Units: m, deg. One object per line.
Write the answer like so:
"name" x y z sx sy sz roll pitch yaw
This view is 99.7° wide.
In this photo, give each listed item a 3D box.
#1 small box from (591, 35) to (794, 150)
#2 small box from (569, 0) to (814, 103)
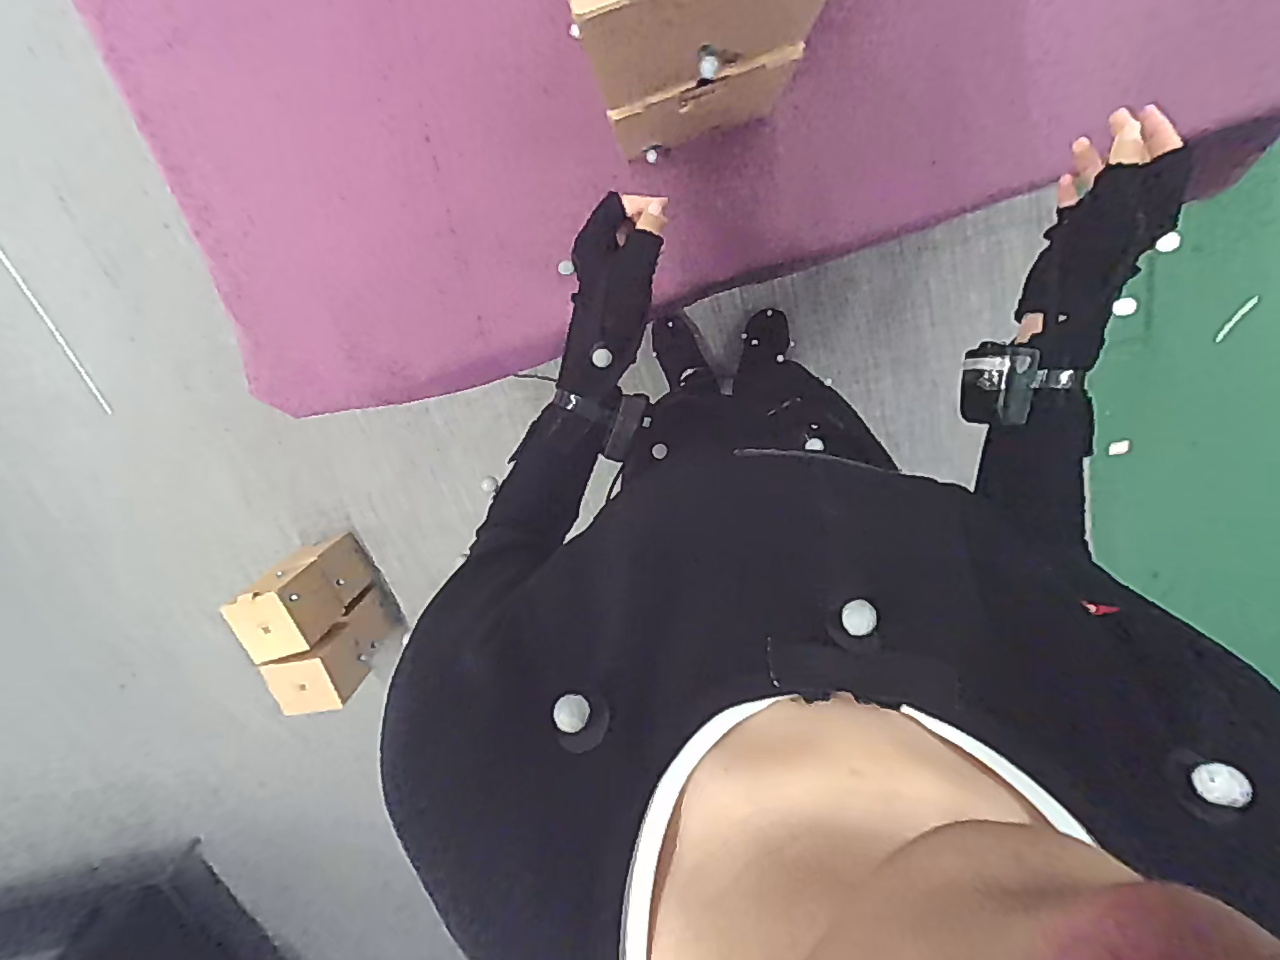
"small box" 0.031 -0.431 0.499 0.168 0.176 0.179 -14 108 7
"small box" 0.020 -0.384 0.342 0.168 0.176 0.179 -14 109 8
